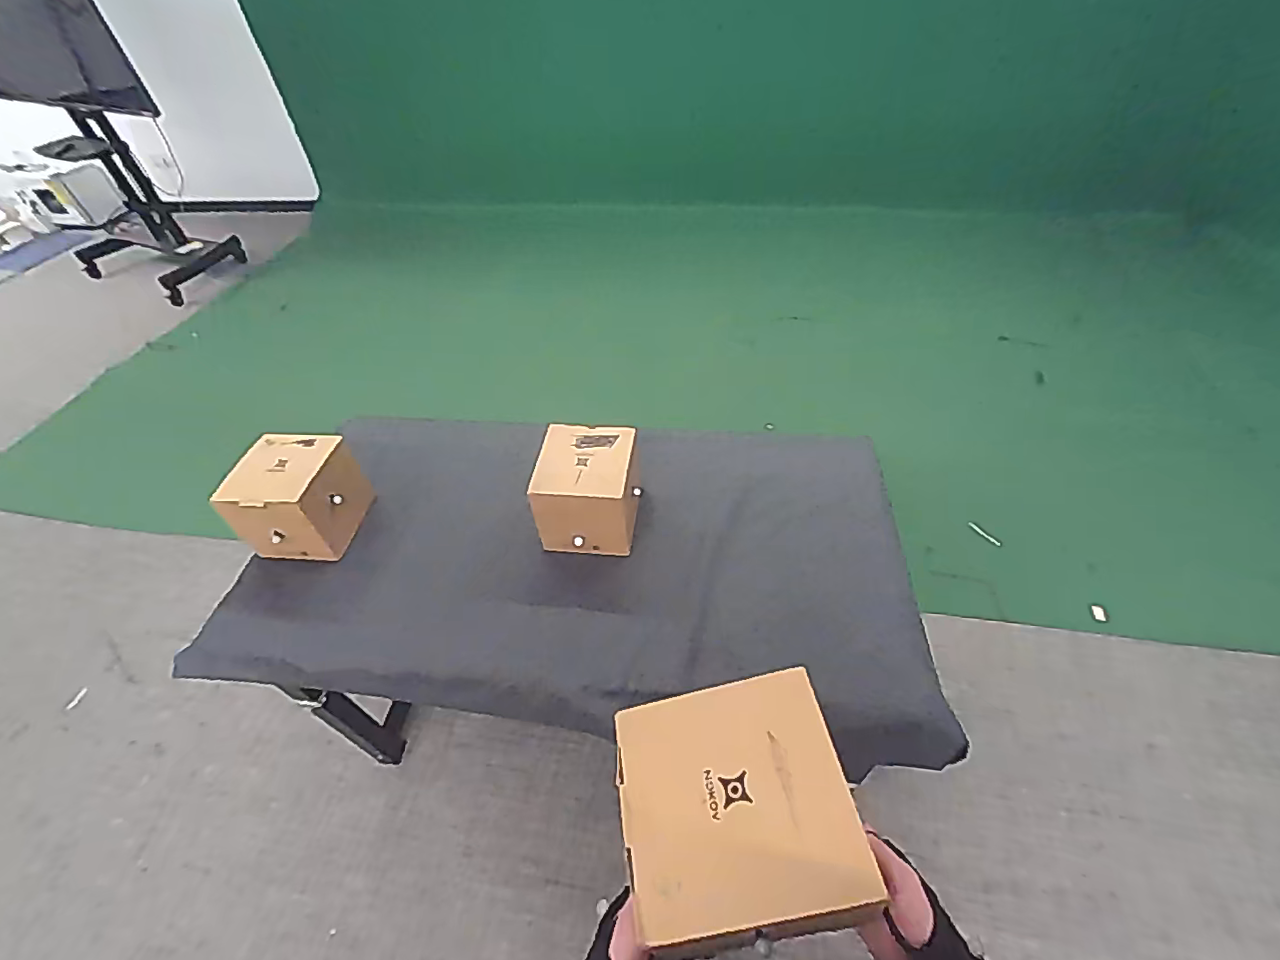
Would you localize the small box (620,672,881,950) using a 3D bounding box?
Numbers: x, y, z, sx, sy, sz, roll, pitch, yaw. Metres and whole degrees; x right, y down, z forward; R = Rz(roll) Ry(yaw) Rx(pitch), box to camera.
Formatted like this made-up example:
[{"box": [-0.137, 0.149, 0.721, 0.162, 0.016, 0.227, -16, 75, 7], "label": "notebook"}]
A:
[{"box": [0.093, 0.302, 0.487, 0.179, 0.176, 0.168, -15, 46, 4], "label": "small box"}]

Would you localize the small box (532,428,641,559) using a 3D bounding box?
[{"box": [-0.089, 0.025, 1.017, 0.168, 0.176, 0.179, 4, 48, 7], "label": "small box"}]

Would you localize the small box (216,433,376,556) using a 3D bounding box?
[{"box": [-0.641, 0.030, 1.038, 0.168, 0.176, 0.179, 3, 48, 5], "label": "small box"}]
